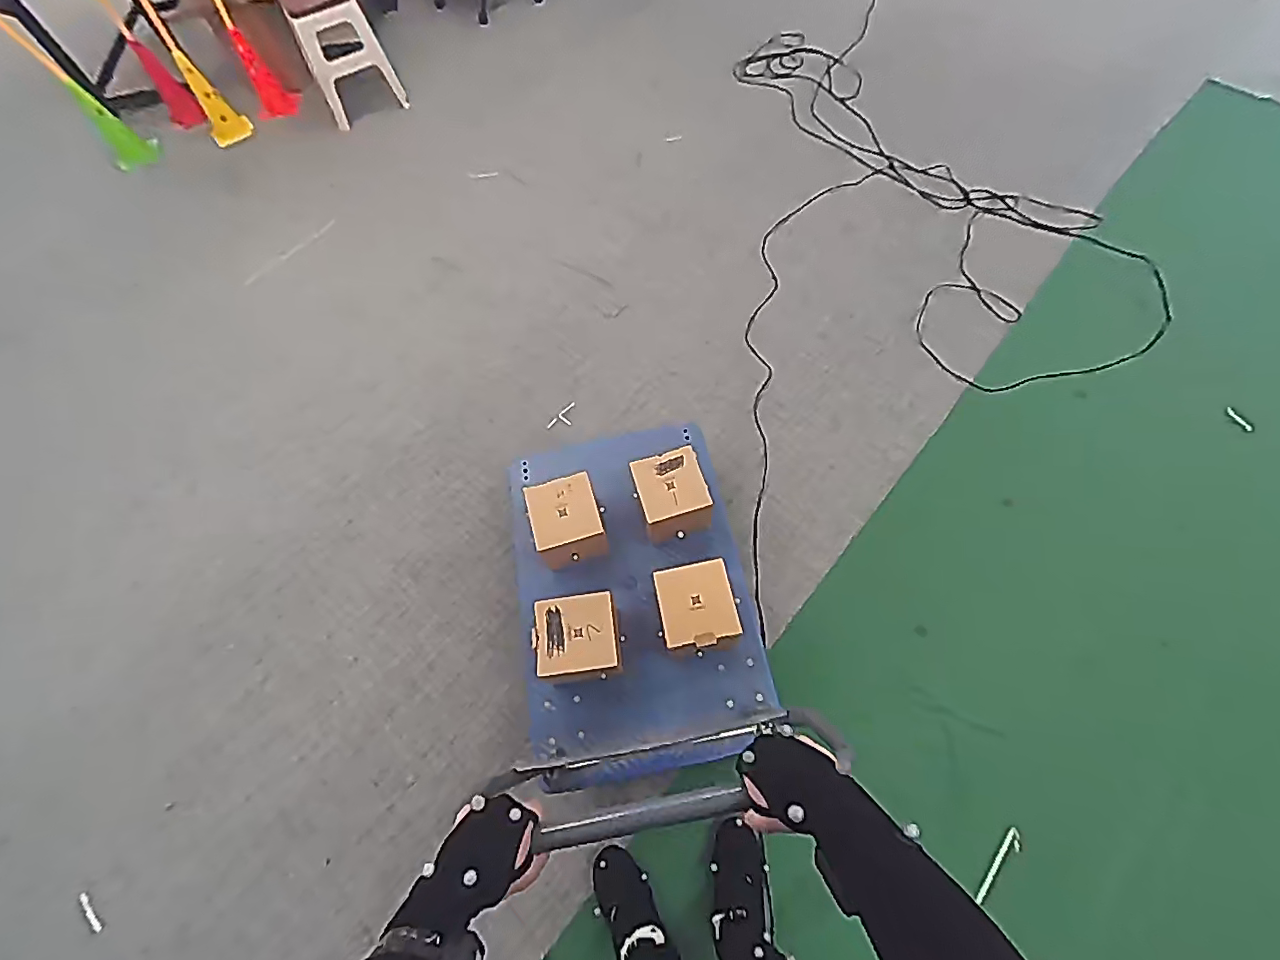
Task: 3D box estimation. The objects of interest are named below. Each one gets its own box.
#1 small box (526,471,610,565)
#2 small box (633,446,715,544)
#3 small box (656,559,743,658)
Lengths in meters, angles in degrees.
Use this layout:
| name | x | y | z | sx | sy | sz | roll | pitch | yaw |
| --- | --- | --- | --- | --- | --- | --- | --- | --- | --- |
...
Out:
| name | x | y | z | sx | sy | sz | roll | pitch | yaw |
| --- | --- | --- | --- | --- | --- | --- | --- | --- | --- |
| small box | -0.179 | 0.106 | 1.383 | 0.168 | 0.176 | 0.179 | -15 | 64 | -4 |
| small box | 0.084 | 0.042 | 1.395 | 0.168 | 0.176 | 0.179 | -16 | 64 | -3 |
| small box | 0.133 | 0.305 | 1.264 | 0.168 | 0.176 | 0.179 | -11 | 64 | -1 |
